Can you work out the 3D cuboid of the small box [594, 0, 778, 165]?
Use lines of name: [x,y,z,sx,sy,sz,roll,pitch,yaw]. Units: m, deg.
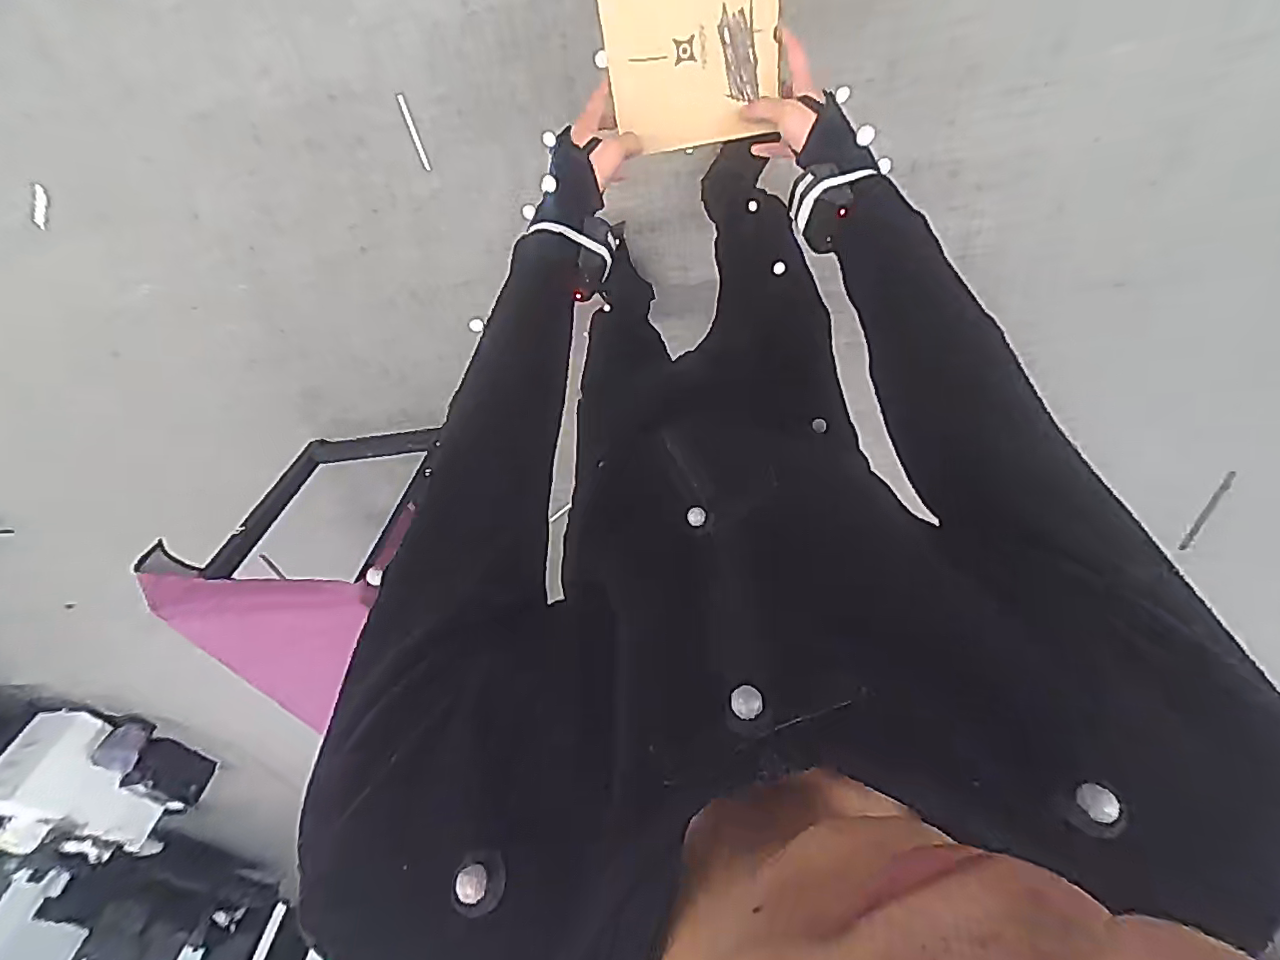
small box: [0.050,-0.473,0.606,0.179,0.176,0.168,-7,128,6]
